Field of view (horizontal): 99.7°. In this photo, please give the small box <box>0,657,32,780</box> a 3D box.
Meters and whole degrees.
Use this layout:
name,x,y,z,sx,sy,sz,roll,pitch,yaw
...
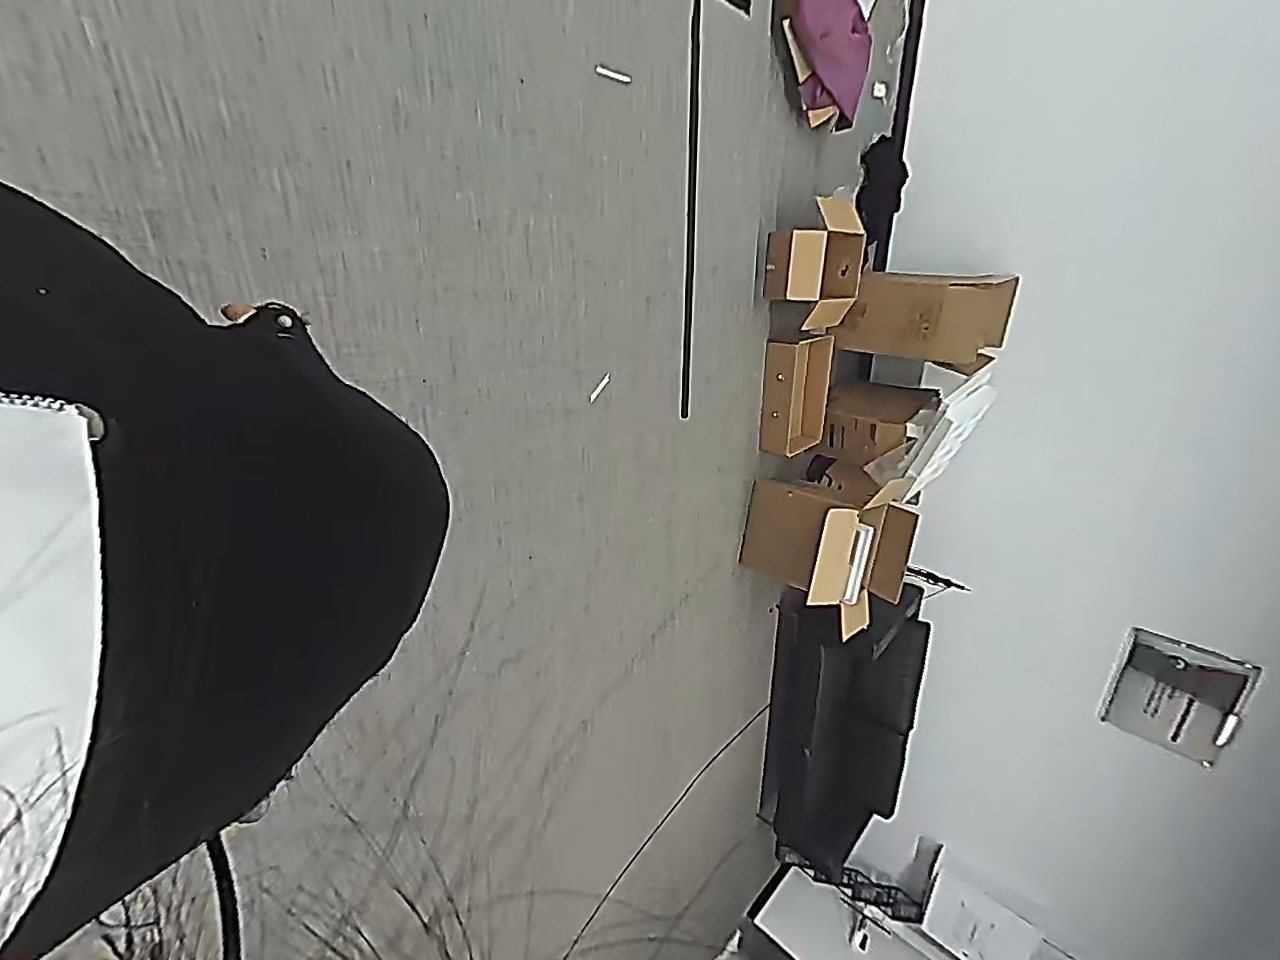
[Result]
name,x,y,z,sx,sy,sz,roll,pitch,yaw
small box,-0.967,0.326,0.718,0.179,0.176,0.168,-20,119,-45
